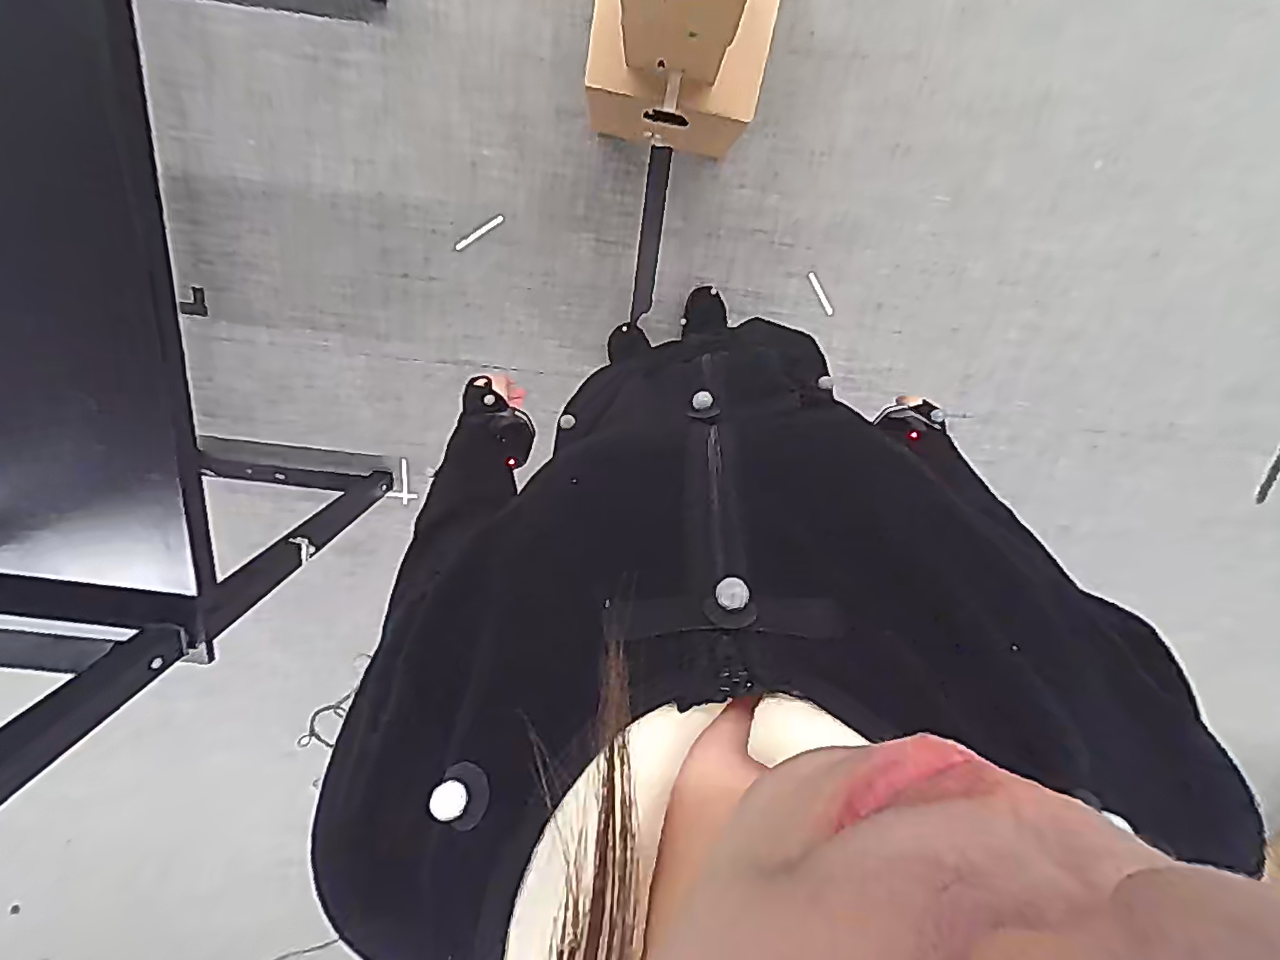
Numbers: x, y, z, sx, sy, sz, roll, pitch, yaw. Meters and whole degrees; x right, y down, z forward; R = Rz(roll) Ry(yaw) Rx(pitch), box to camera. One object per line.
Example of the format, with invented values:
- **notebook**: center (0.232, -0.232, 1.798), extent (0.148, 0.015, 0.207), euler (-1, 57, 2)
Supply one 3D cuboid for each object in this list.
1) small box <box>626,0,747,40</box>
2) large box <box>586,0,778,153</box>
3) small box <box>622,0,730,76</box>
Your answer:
- **small box**: center (0.070, -0.709, 0.681), extent (0.168, 0.176, 0.179), euler (9, 109, -2)
- **large box**: center (0.086, -0.912, 1.042), extent (0.320, 0.320, 0.408), euler (9, 109, -5)
- **small box**: center (0.069, -0.769, 0.834), extent (0.168, 0.176, 0.179), euler (10, 110, -3)
